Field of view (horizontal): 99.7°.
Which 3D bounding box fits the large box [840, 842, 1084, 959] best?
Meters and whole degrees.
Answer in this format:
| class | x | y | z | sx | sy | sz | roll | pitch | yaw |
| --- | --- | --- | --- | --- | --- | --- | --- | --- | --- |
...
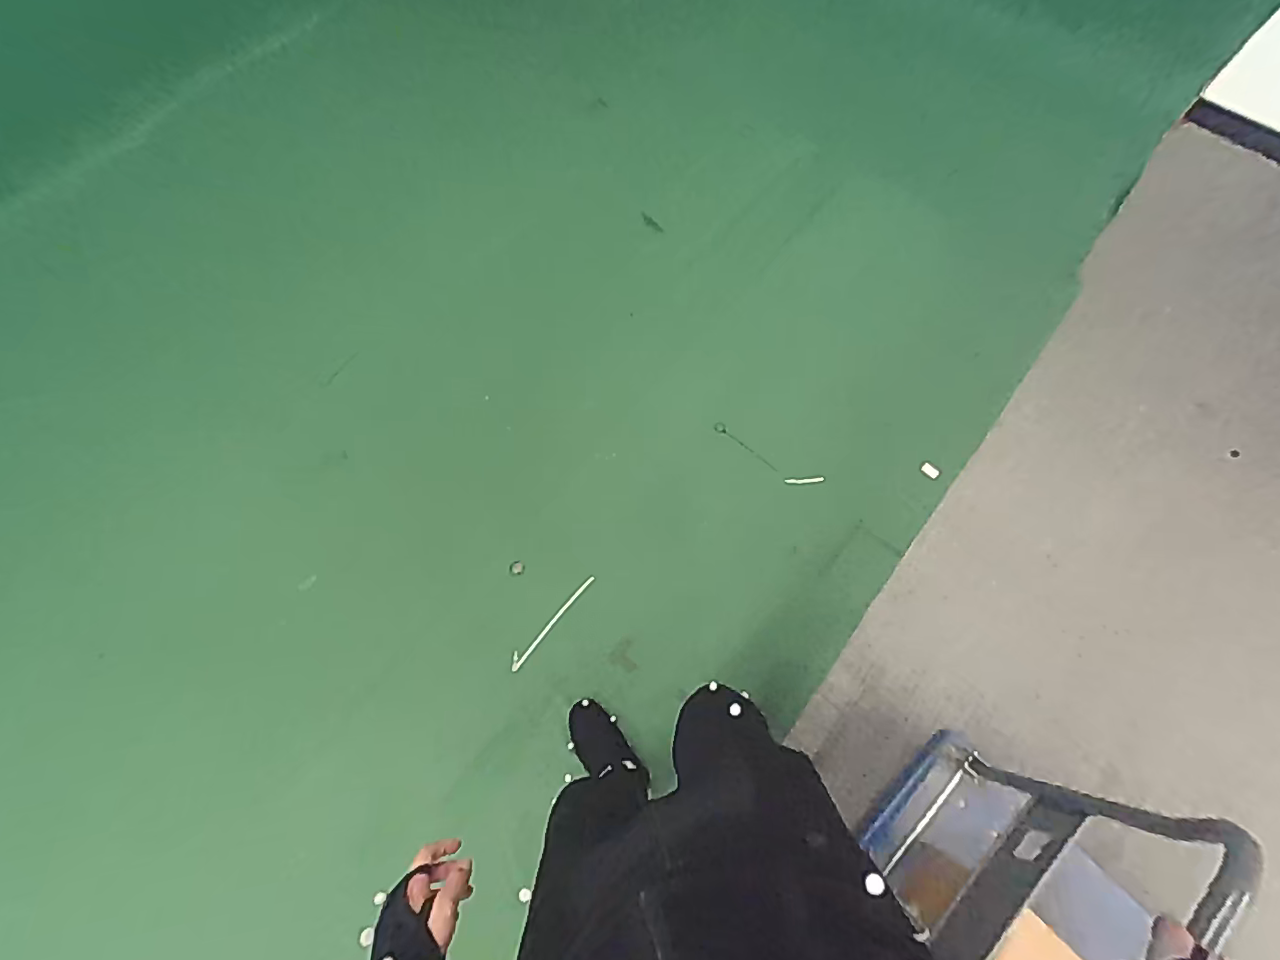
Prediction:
| class | x | y | z | sx | sy | sz | roll | pitch | yaw |
| --- | --- | --- | --- | --- | --- | --- | --- | --- | --- |
| large box | 0.632 | 0.947 | 0.932 | 0.408 | 0.320 | 0.320 | 43 | 77 | 12 |
